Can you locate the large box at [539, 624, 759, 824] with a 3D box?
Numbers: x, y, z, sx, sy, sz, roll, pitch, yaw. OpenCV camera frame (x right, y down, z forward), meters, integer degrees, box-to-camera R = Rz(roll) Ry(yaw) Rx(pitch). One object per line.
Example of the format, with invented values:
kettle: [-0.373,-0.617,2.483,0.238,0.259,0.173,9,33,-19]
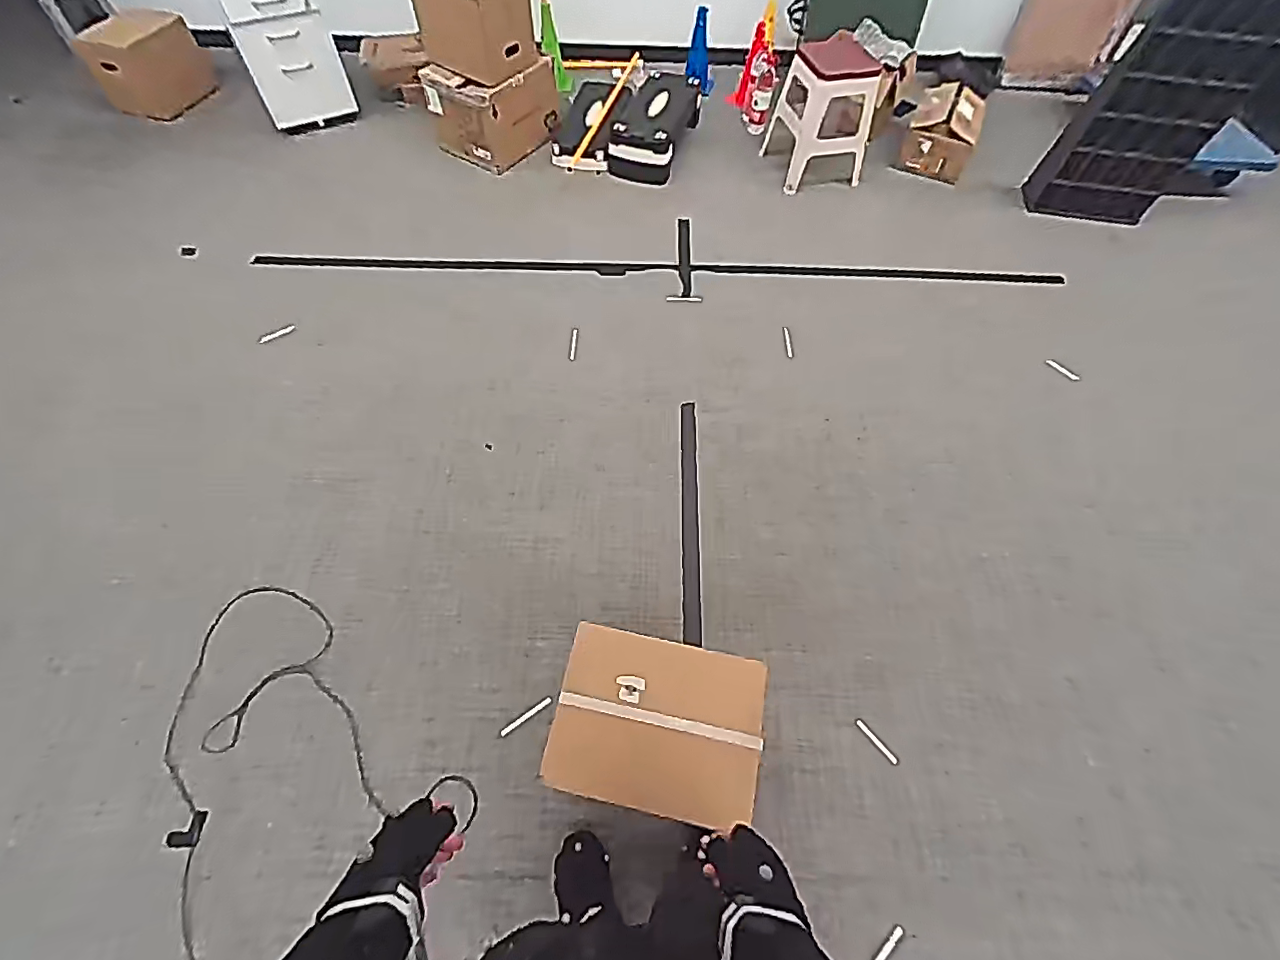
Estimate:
large box: [0.030,0.538,1.202,0.408,0.320,0.320,9,62,4]
